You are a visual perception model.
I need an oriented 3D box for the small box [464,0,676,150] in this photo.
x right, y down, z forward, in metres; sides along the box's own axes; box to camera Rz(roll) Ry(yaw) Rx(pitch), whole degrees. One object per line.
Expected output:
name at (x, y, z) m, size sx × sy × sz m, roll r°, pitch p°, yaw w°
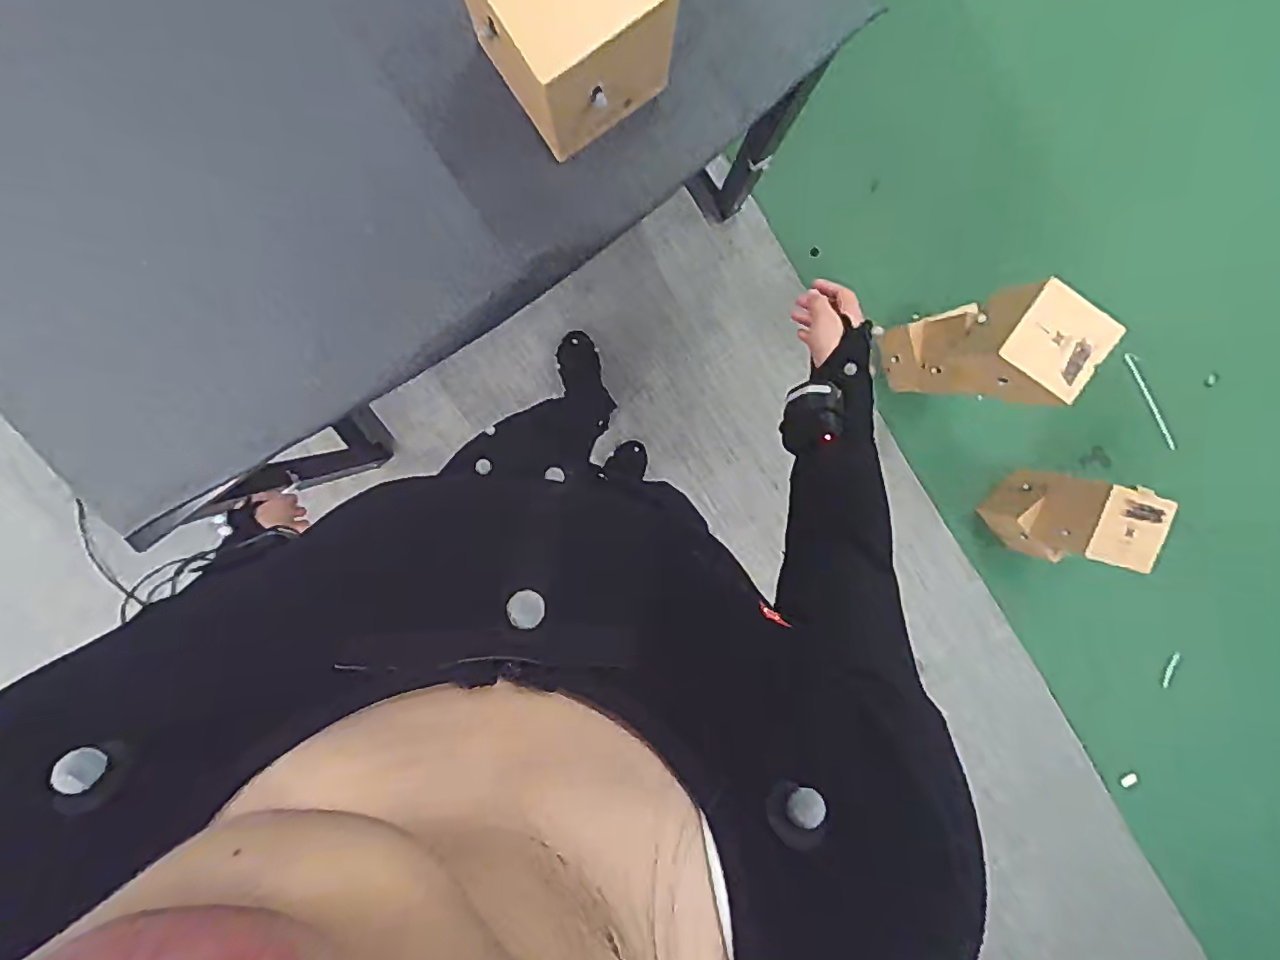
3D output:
small box at (-0.077, -0.495, 0.580) m, size 0.168 × 0.176 × 0.179 m, roll -35°, pitch 97°, yaw 3°

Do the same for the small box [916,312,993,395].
small box at (0.757, -0.279, 1.222) m, size 0.179 × 0.176 × 0.168 m, roll 2°, pitch 100°, yaw -3°

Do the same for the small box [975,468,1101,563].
small box at (1.061, 0.087, 1.456) m, size 0.179 × 0.176 × 0.168 m, roll -43°, pitch 98°, yaw 3°

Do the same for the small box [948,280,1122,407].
small box at (0.759, -0.260, 1.059) m, size 0.179 × 0.176 × 0.168 m, roll 32°, pitch 97°, yaw -6°

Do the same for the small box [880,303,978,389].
small box at (0.737, -0.333, 1.377) m, size 0.179 × 0.176 × 0.168 m, roll -18°, pitch 100°, yaw 0°
